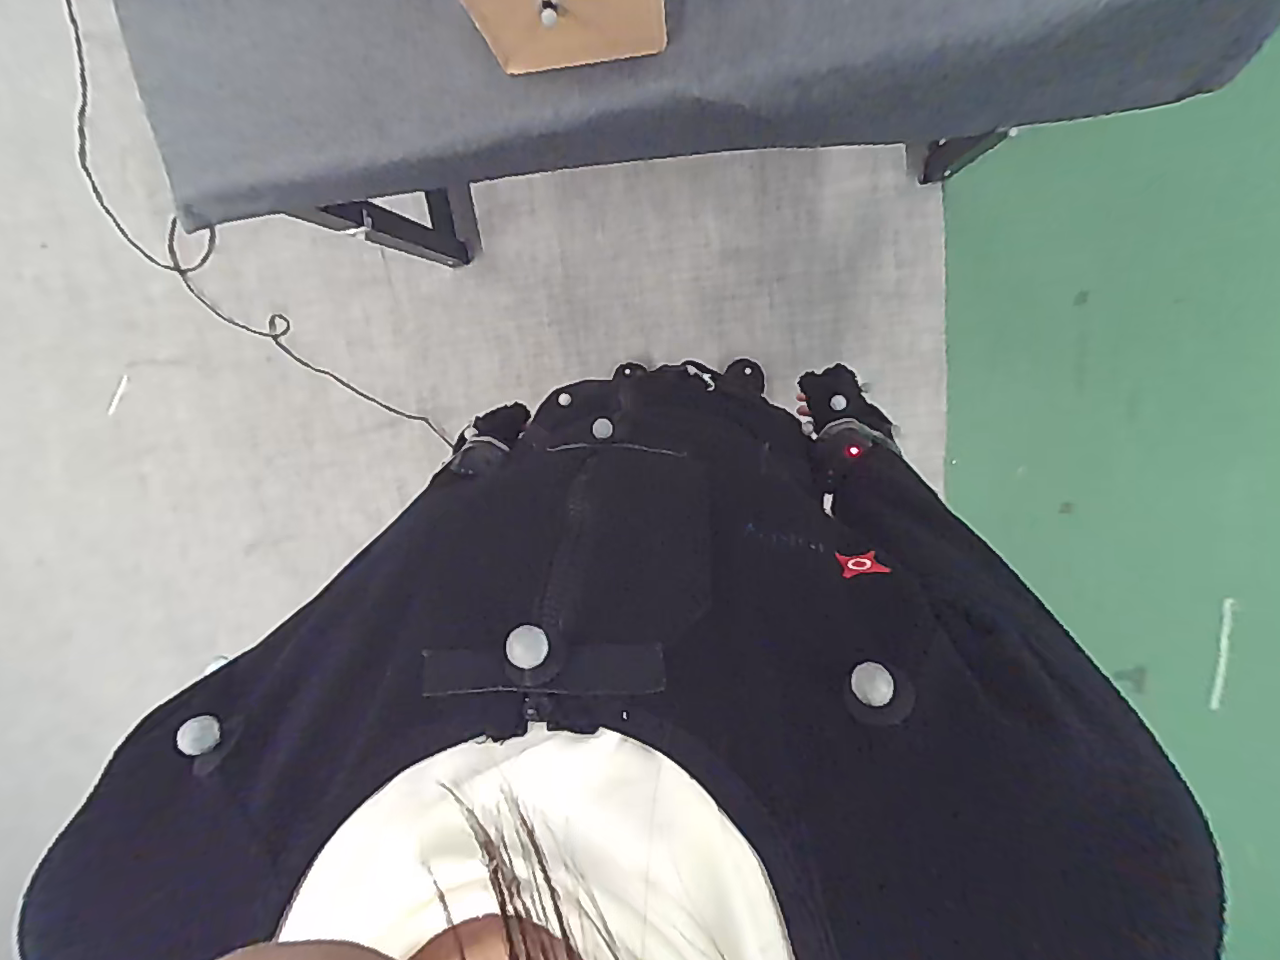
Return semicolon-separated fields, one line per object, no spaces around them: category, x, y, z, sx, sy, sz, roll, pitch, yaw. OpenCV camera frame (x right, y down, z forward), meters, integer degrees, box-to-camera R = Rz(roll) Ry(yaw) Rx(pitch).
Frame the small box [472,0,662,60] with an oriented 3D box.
small box;-0.076;-0.515;0.483;0.179;0.176;0.168;-3;103;6
